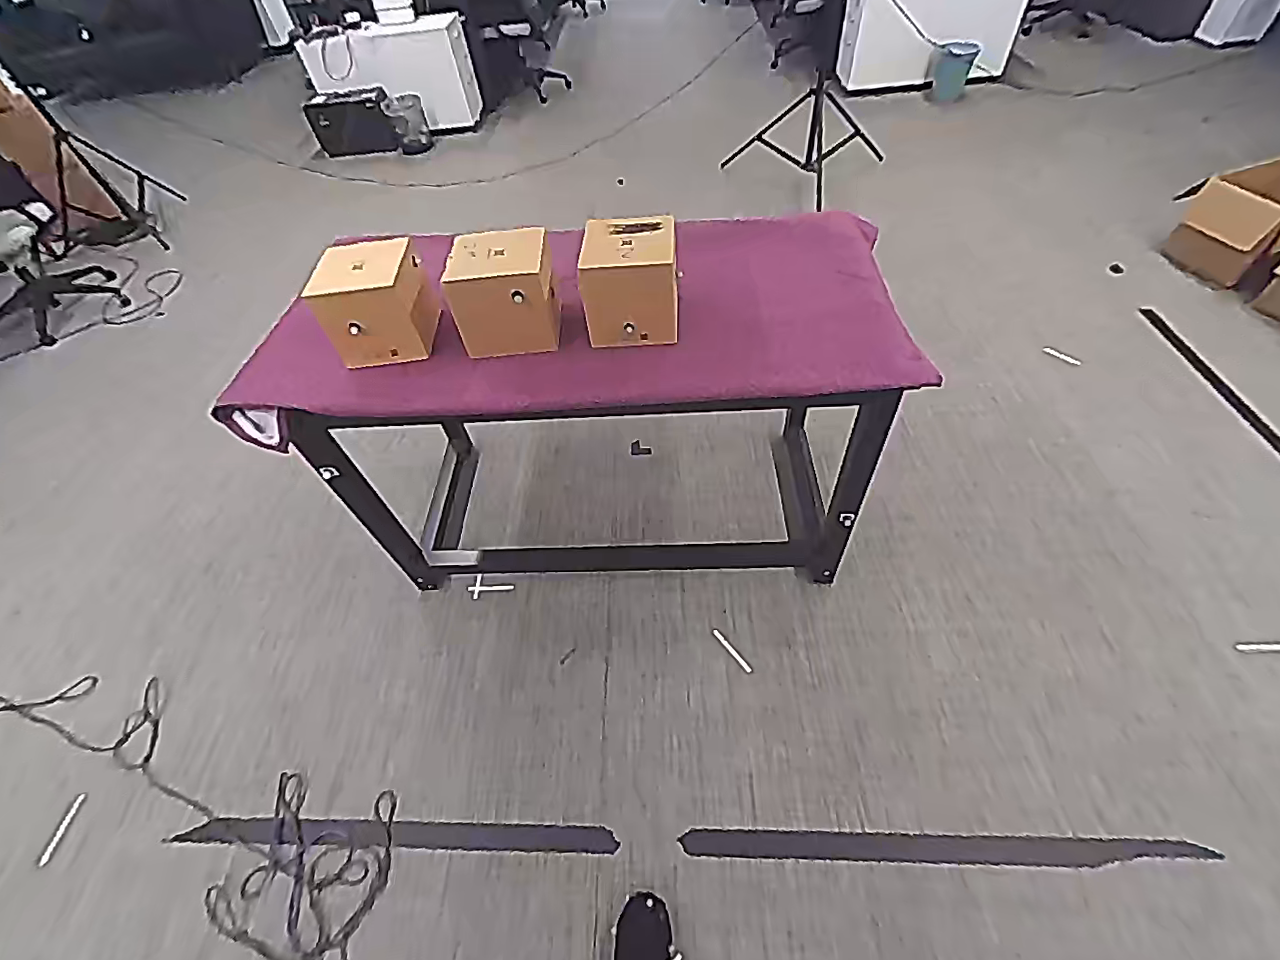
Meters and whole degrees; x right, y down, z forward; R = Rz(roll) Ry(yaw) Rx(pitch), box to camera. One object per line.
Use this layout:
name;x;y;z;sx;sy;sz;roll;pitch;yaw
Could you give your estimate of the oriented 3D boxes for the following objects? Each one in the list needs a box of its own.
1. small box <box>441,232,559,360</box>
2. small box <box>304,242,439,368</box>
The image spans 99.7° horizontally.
small box;-0.256;-0.350;1.041;0.179;0.176;0.168;-5;49;1
small box;-0.511;-0.335;1.061;0.168;0.176;0.179;-8;50;0
